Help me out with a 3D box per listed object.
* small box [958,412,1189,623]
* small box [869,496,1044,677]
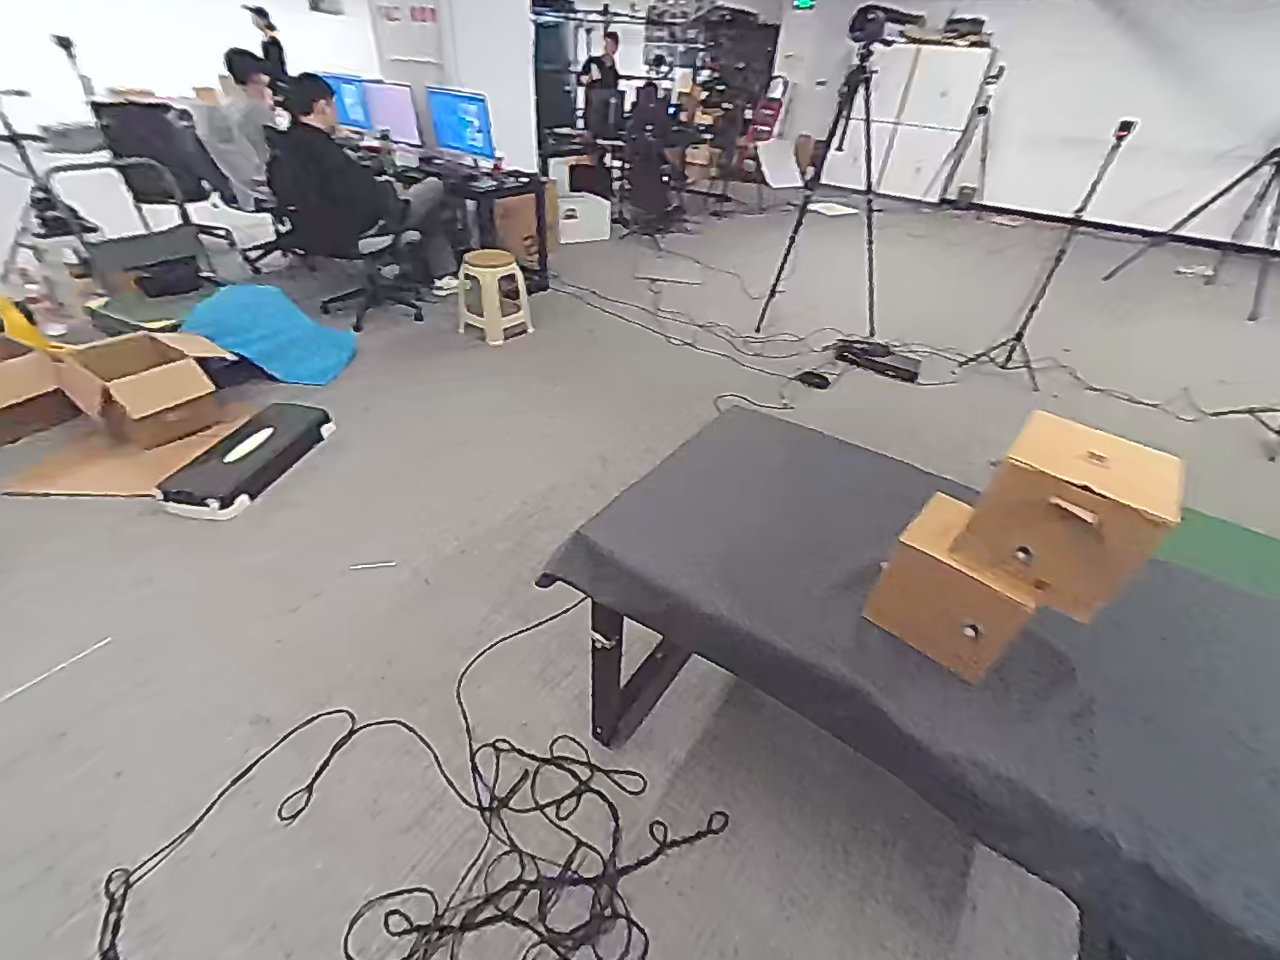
[{"bbox_3d":[0.542,0.043,0.691,0.168,0.176,0.179,31,44,30],"label":"small box"},{"bbox_3d":[0.473,0.160,0.798,0.179,0.176,0.168,31,43,32],"label":"small box"}]
